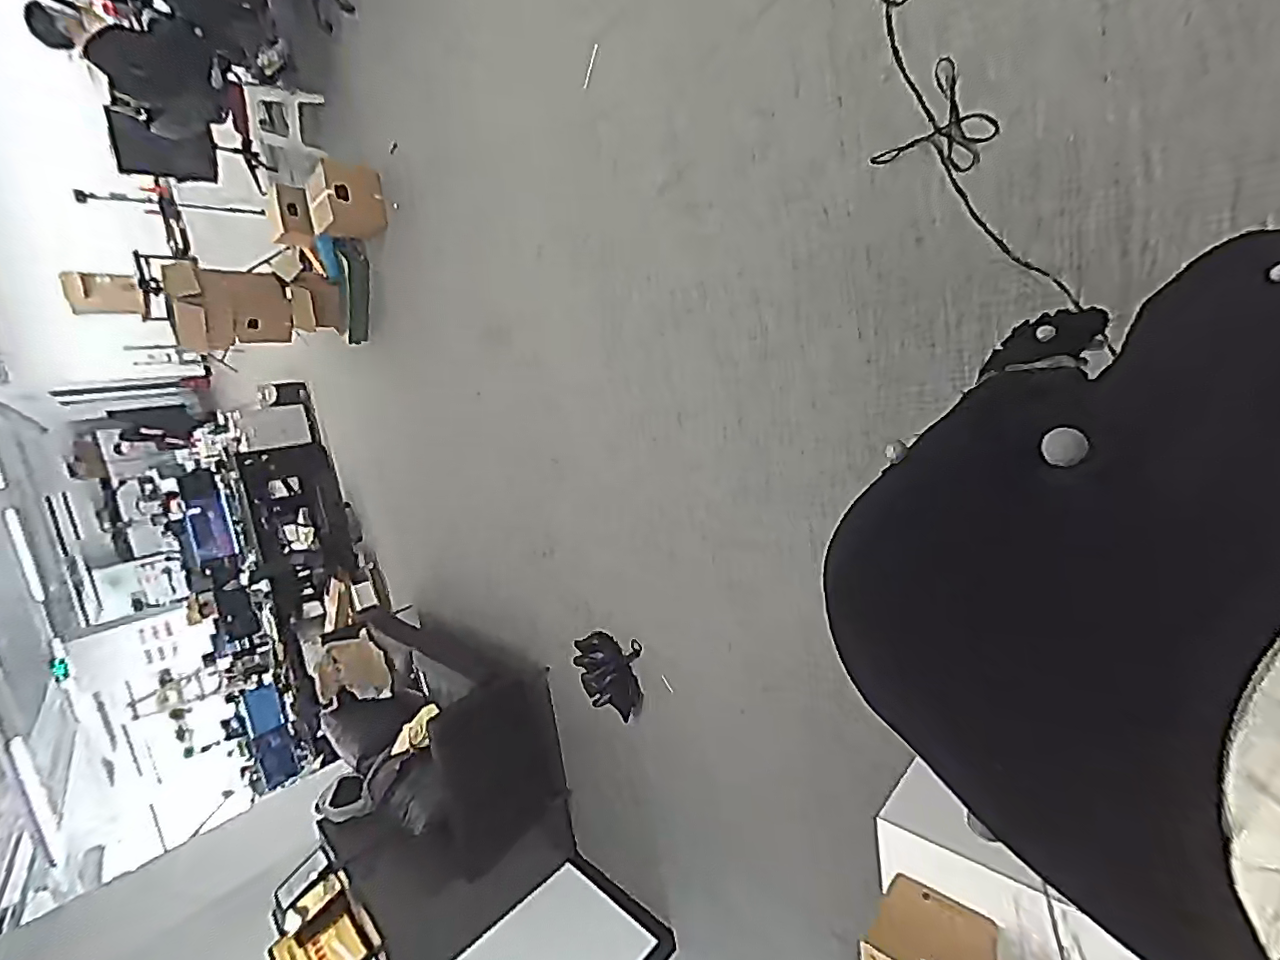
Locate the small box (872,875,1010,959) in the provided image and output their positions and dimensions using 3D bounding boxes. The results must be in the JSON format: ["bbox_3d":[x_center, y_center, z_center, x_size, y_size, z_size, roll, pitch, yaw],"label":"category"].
[{"bbox_3d":[0.521,0.846,0.927,0.168,0.176,0.179,1,104,47],"label":"small box"}]
